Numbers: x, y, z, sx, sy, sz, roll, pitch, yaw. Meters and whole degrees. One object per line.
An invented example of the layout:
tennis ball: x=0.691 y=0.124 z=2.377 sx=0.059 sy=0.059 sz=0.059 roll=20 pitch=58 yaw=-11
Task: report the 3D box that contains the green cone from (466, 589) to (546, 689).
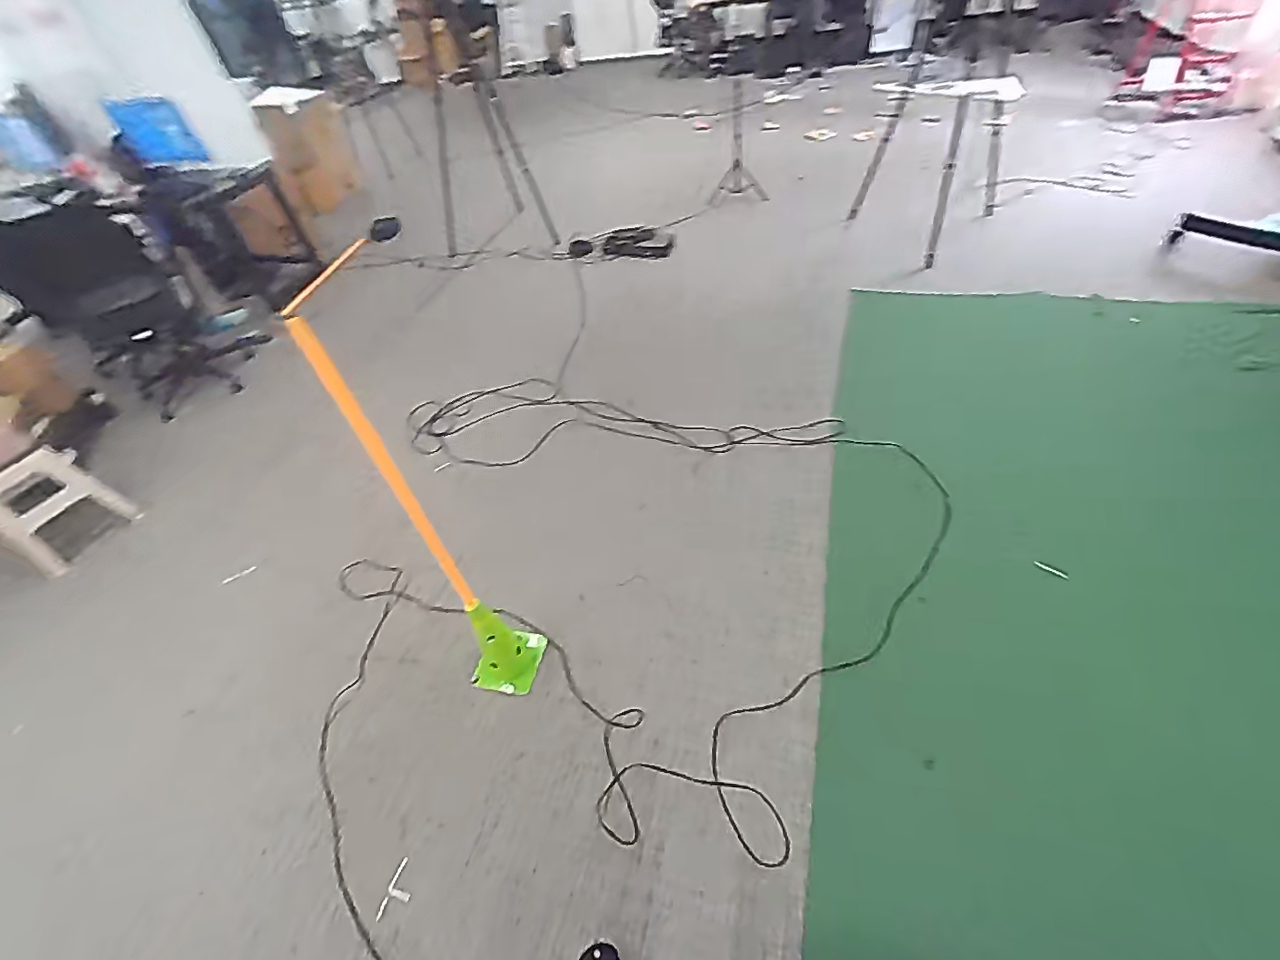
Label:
green cone: x=-0.442 y=0.448 z=1.622 sx=0.200 sy=0.368 sz=0.202 roll=5 pitch=47 yaw=14
